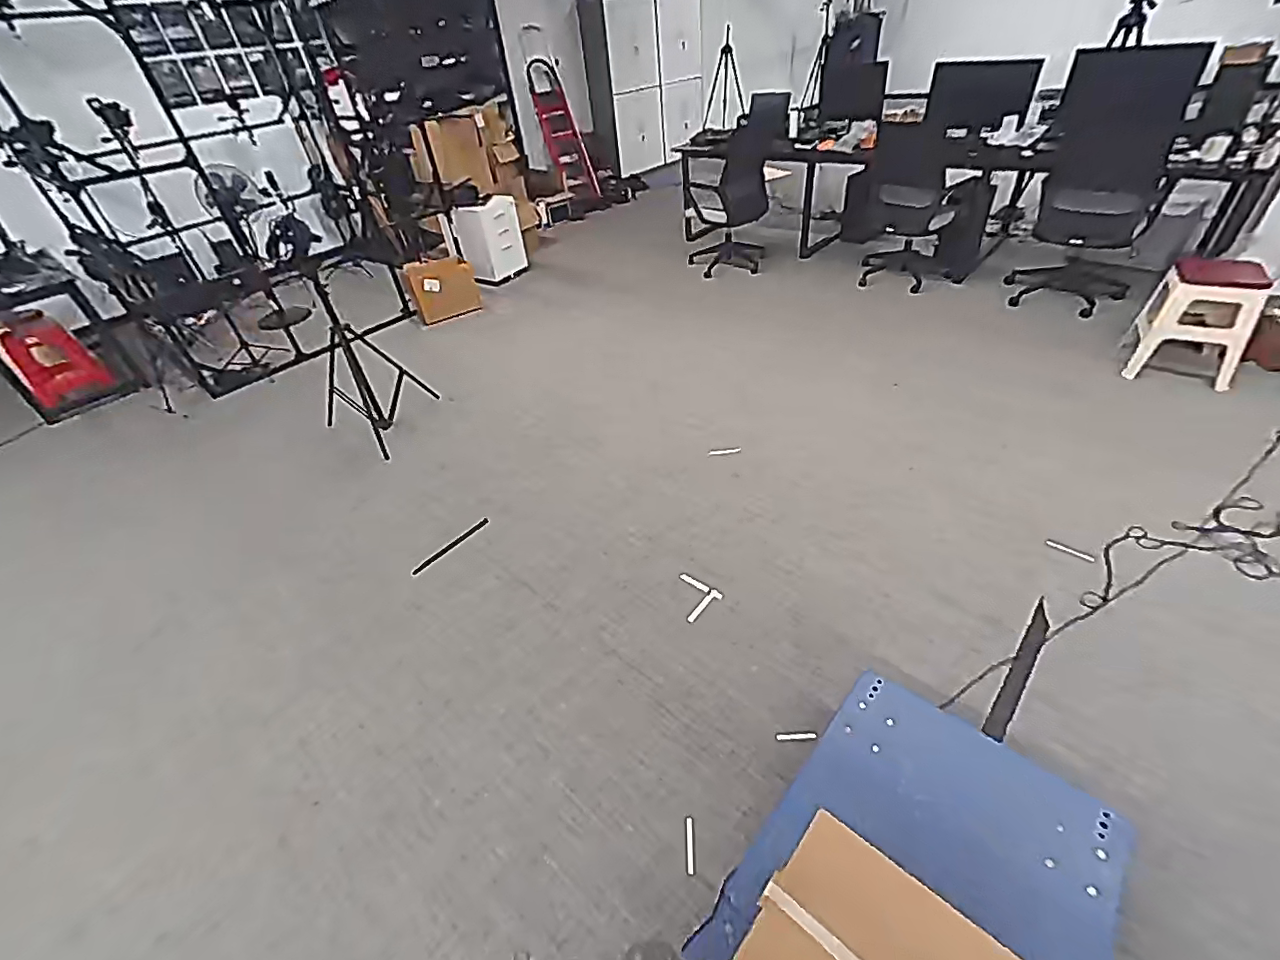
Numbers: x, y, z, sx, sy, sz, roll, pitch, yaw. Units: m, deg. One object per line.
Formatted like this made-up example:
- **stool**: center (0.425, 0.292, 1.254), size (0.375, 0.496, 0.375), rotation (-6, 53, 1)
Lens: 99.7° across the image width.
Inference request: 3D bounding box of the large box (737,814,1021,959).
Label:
- **large box**: center (0.373, 0.838, 0.841), size (0.408, 0.320, 0.320), rotation (26, 50, 33)
